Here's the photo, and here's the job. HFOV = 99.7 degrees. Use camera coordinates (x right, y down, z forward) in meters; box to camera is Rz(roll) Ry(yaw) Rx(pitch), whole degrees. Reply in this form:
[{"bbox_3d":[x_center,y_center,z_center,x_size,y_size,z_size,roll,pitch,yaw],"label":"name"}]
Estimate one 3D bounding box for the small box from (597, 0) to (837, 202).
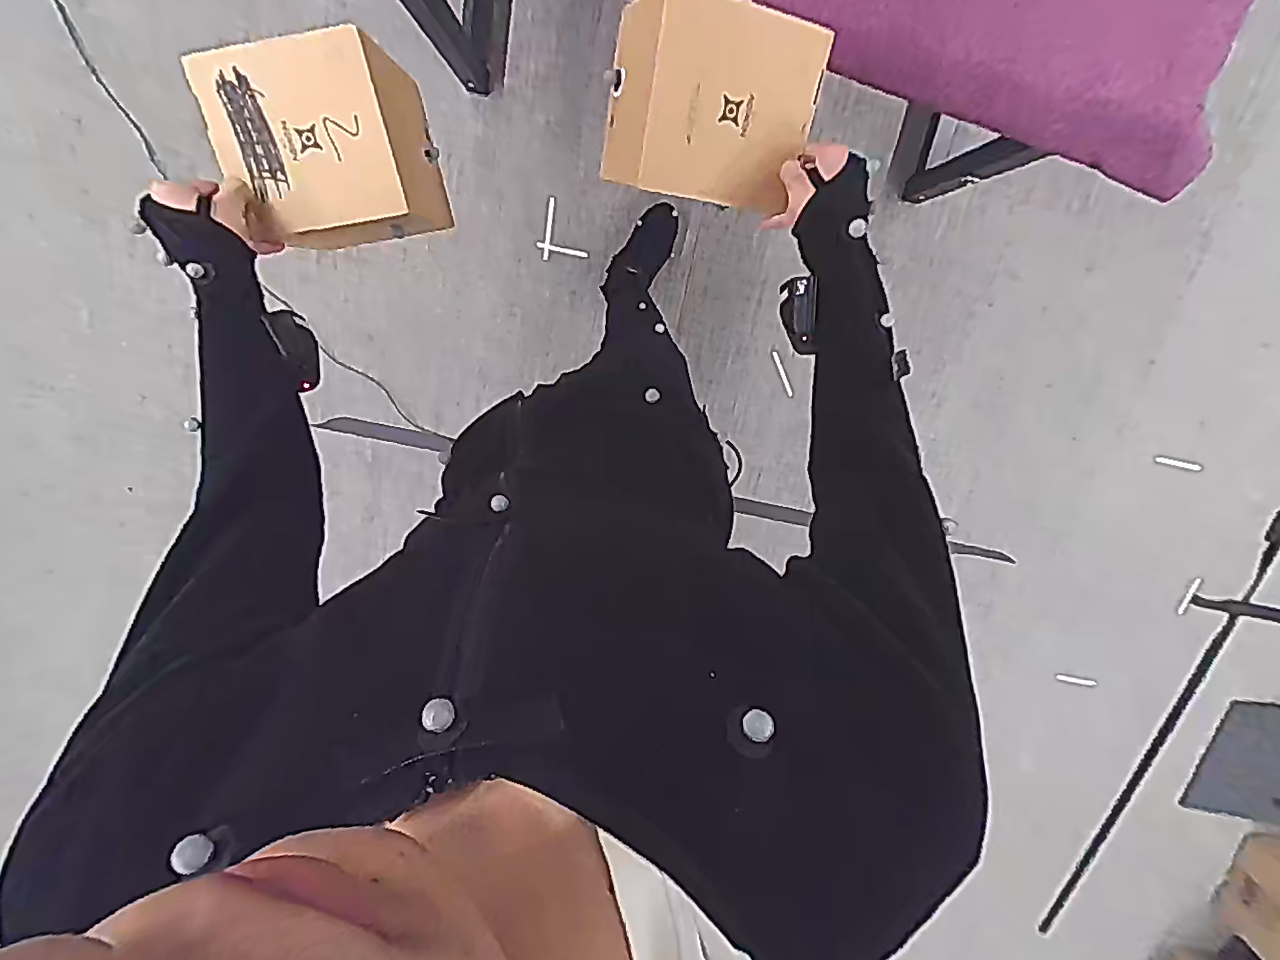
[{"bbox_3d":[0.066,-0.409,0.578,0.179,0.176,0.168,-1,120,-21],"label":"small box"}]
